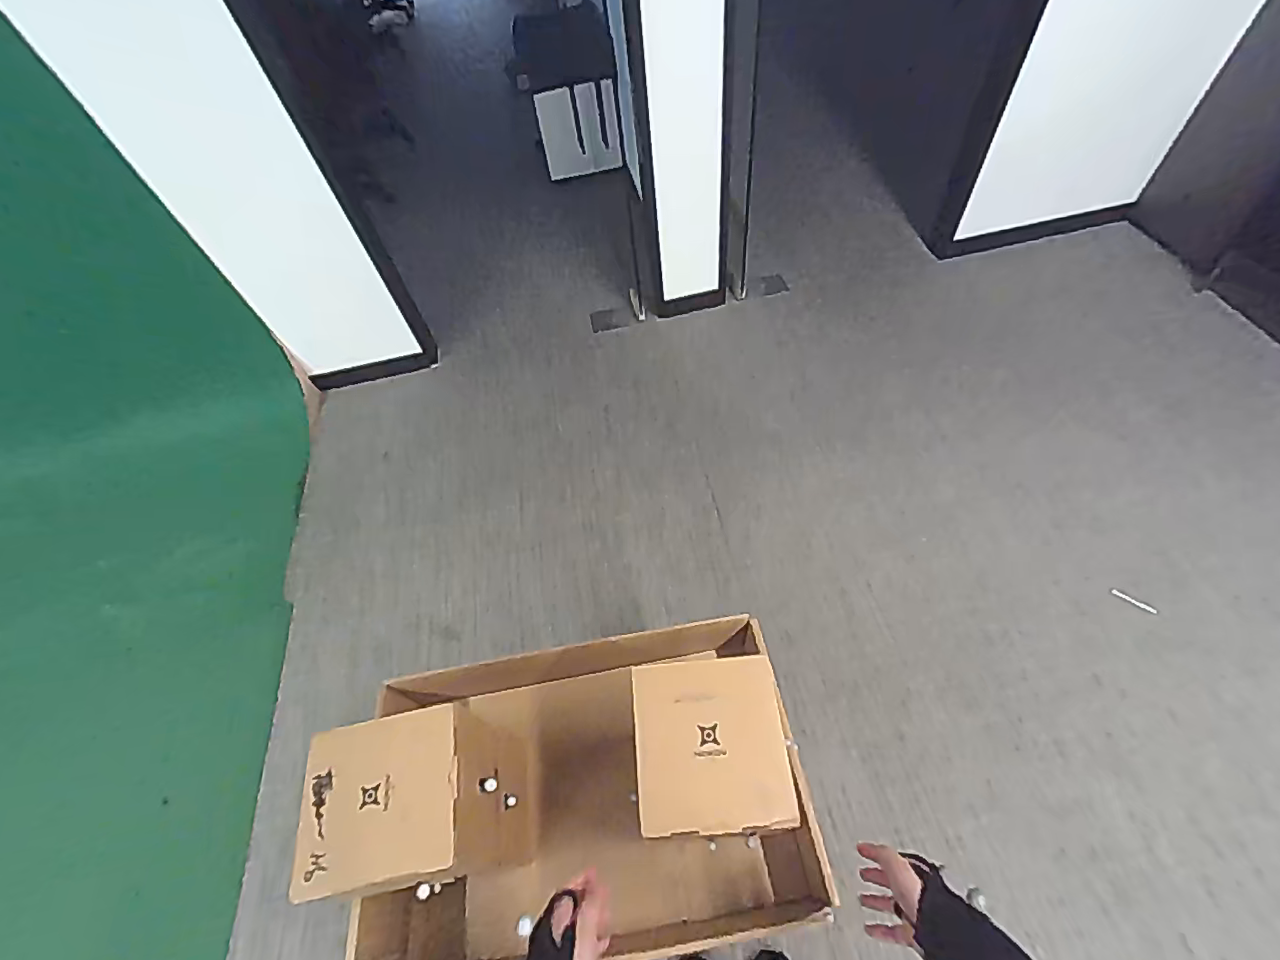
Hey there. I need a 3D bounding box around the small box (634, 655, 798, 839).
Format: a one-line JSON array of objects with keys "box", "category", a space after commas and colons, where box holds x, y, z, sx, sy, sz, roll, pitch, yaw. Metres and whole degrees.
[{"box": [0.086, 0.332, 0.661, 0.168, 0.176, 0.179, -6, 54, 2], "category": "small box"}]

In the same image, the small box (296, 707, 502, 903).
[{"box": [-0.275, 0.396, 0.666, 0.179, 0.176, 0.168, -12, 55, -1], "category": "small box"}]
